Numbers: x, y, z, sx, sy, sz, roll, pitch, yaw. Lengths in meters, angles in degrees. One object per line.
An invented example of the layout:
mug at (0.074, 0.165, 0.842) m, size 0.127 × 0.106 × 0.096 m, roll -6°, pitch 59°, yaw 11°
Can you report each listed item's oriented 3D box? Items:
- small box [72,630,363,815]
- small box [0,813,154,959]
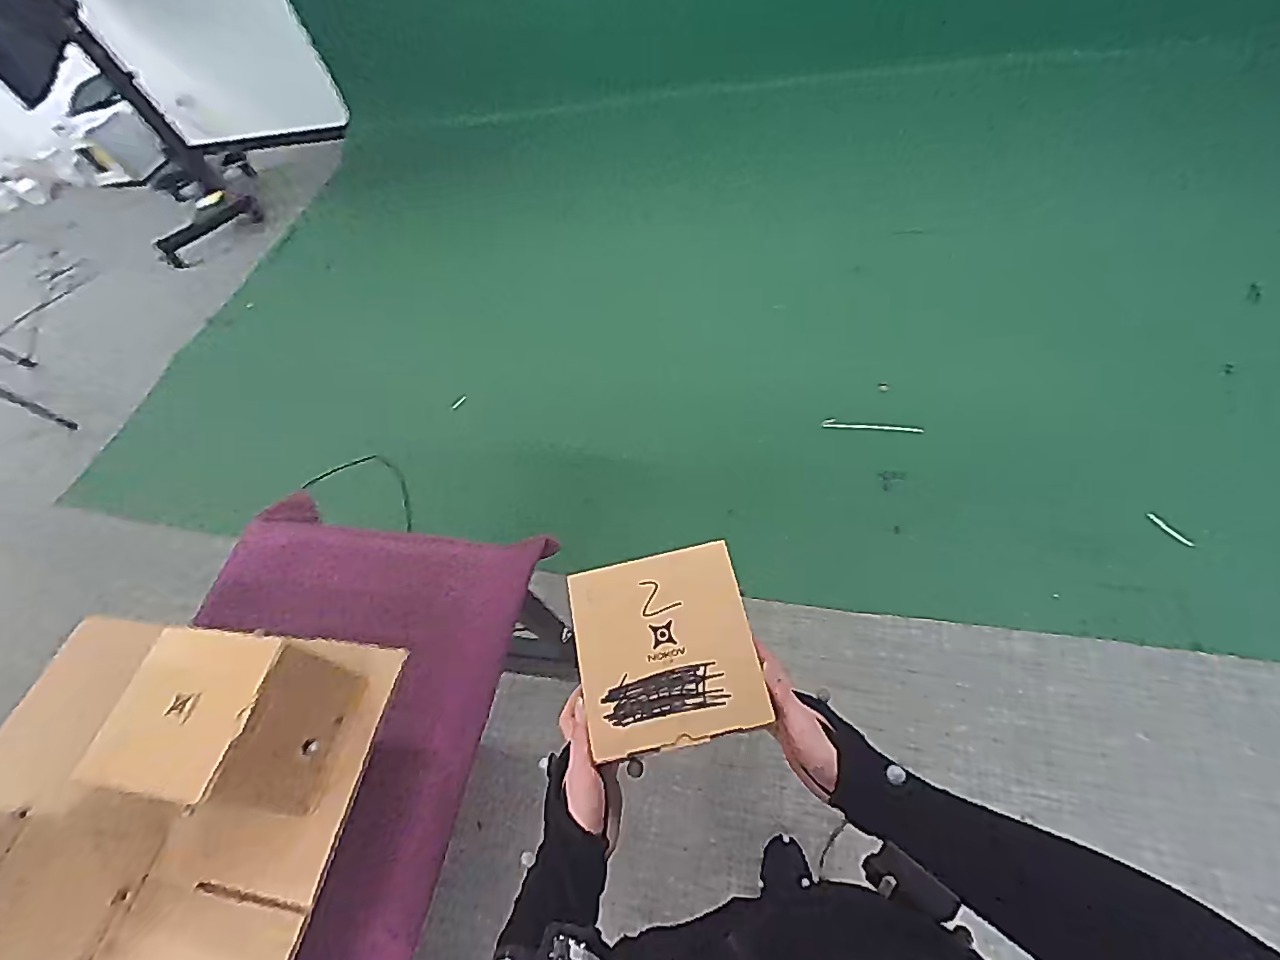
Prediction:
small box at (-0.483, 0.294, 0.651) m, size 0.179 × 0.176 × 0.168 m, roll 2°, pitch 56°, yaw 12°
small box at (-0.694, 0.461, 0.575) m, size 0.179 × 0.176 × 0.168 m, roll 1°, pitch 55°, yaw 13°
